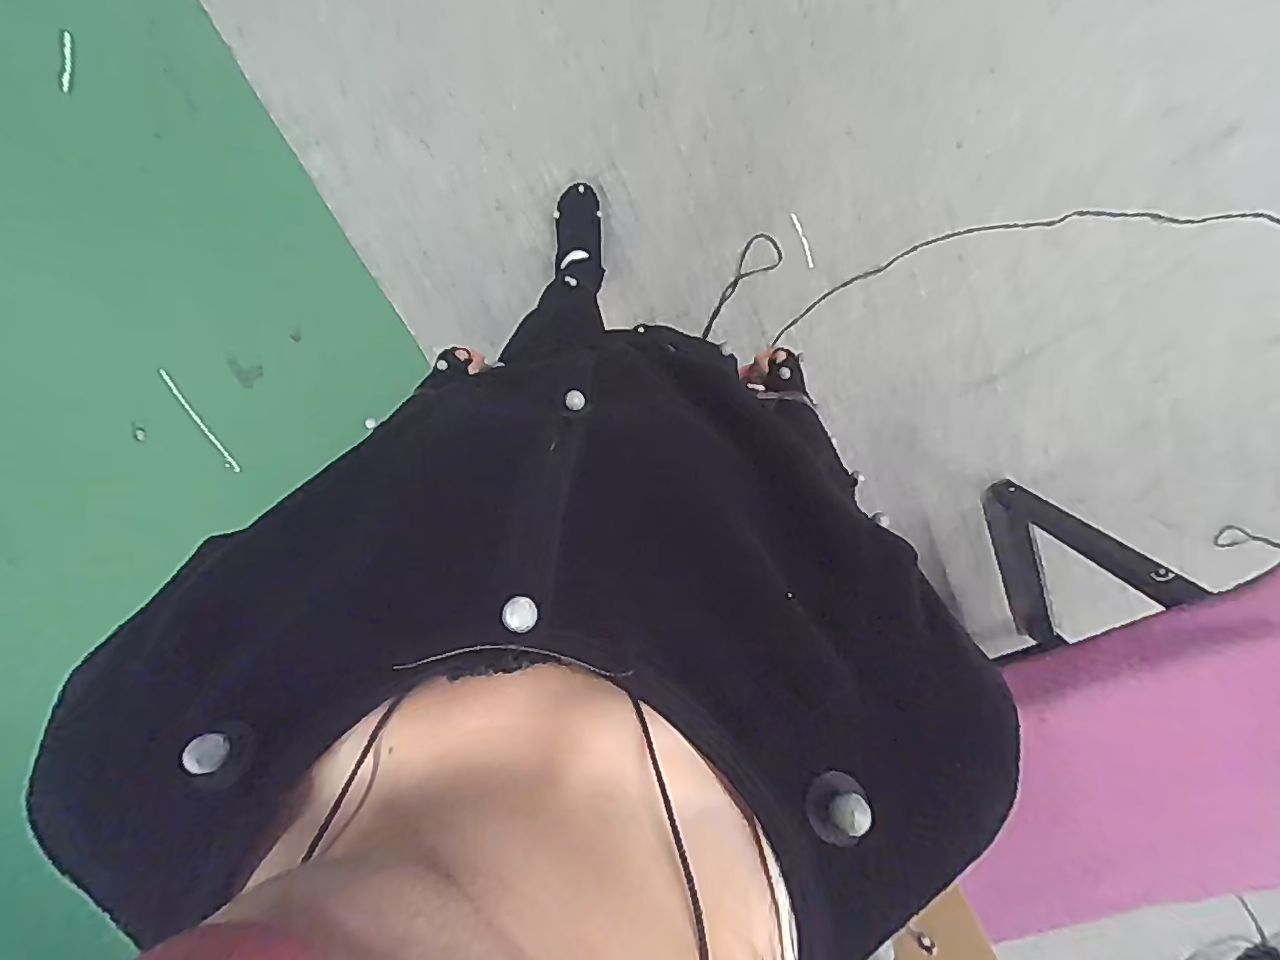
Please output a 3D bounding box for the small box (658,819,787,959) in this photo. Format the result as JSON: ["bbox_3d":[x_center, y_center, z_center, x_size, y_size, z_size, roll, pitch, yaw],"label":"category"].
[{"bbox_3d":[0.144,0.750,0.956,0.179,0.176,0.168,-27,108,9],"label":"small box"}]

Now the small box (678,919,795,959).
[{"bbox_3d":[0.159,0.808,0.803,0.179,0.176,0.168,-22,109,7],"label":"small box"}]
